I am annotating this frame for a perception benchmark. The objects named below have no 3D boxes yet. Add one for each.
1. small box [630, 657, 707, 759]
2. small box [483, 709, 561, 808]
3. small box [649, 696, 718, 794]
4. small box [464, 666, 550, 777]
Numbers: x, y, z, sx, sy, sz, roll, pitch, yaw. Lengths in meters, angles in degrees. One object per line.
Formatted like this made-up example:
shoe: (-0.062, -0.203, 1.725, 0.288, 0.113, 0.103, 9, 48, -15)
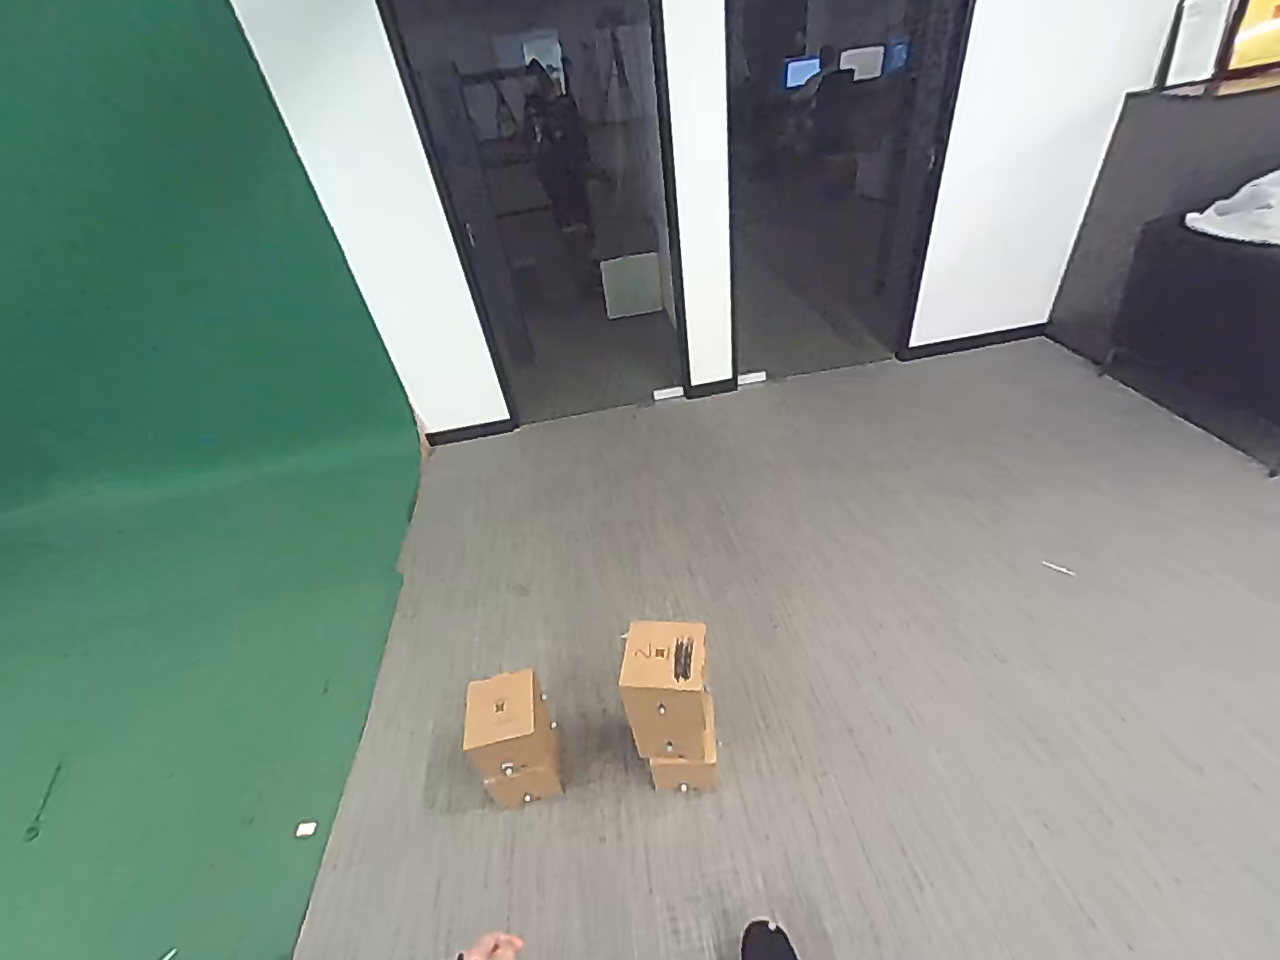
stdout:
small box: (0.077, 0.556, 1.318, 0.168, 0.176, 0.179, -1, 39, 10)
small box: (-0.310, 0.729, 1.435, 0.168, 0.176, 0.179, -12, 38, -5)
small box: (0.115, 0.688, 1.408, 0.168, 0.176, 0.179, -4, 39, 7)
small box: (-0.324, 0.598, 1.340, 0.168, 0.176, 0.179, -13, 38, -4)
